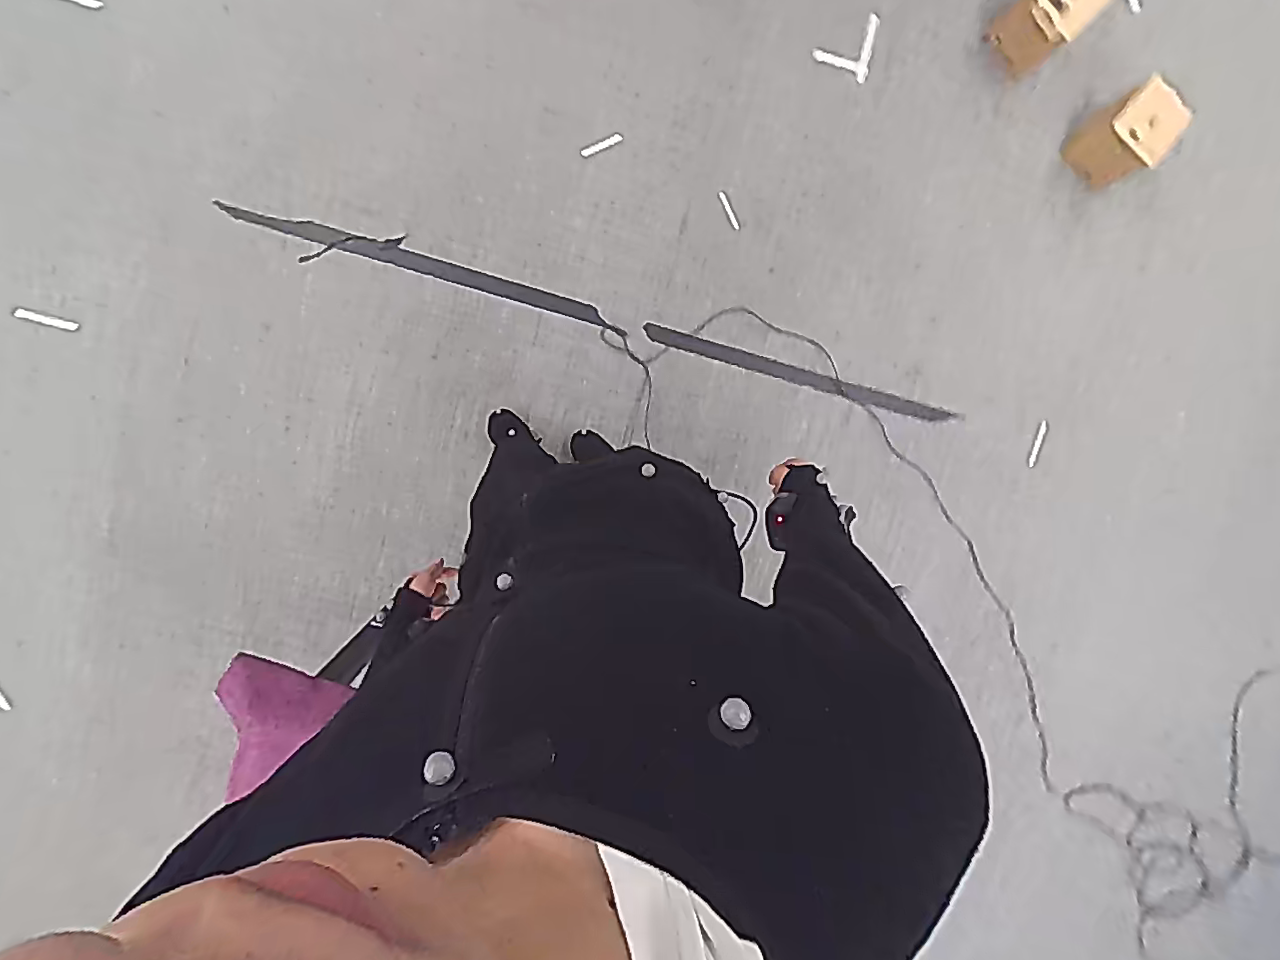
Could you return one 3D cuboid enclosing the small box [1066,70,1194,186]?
[{"bbox_3d":[1.366,-0.978,1.521,0.168,0.176,0.179,38,92,-8],"label":"small box"}]

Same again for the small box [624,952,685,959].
[{"bbox_3d":[0.038,0.989,0.943,0.168,0.176,0.179,11,96,-6],"label":"small box"}]

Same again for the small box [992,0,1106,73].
[{"bbox_3d":[1.098,-1.263,1.460,0.179,0.176,0.168,-45,99,2],"label":"small box"}]
